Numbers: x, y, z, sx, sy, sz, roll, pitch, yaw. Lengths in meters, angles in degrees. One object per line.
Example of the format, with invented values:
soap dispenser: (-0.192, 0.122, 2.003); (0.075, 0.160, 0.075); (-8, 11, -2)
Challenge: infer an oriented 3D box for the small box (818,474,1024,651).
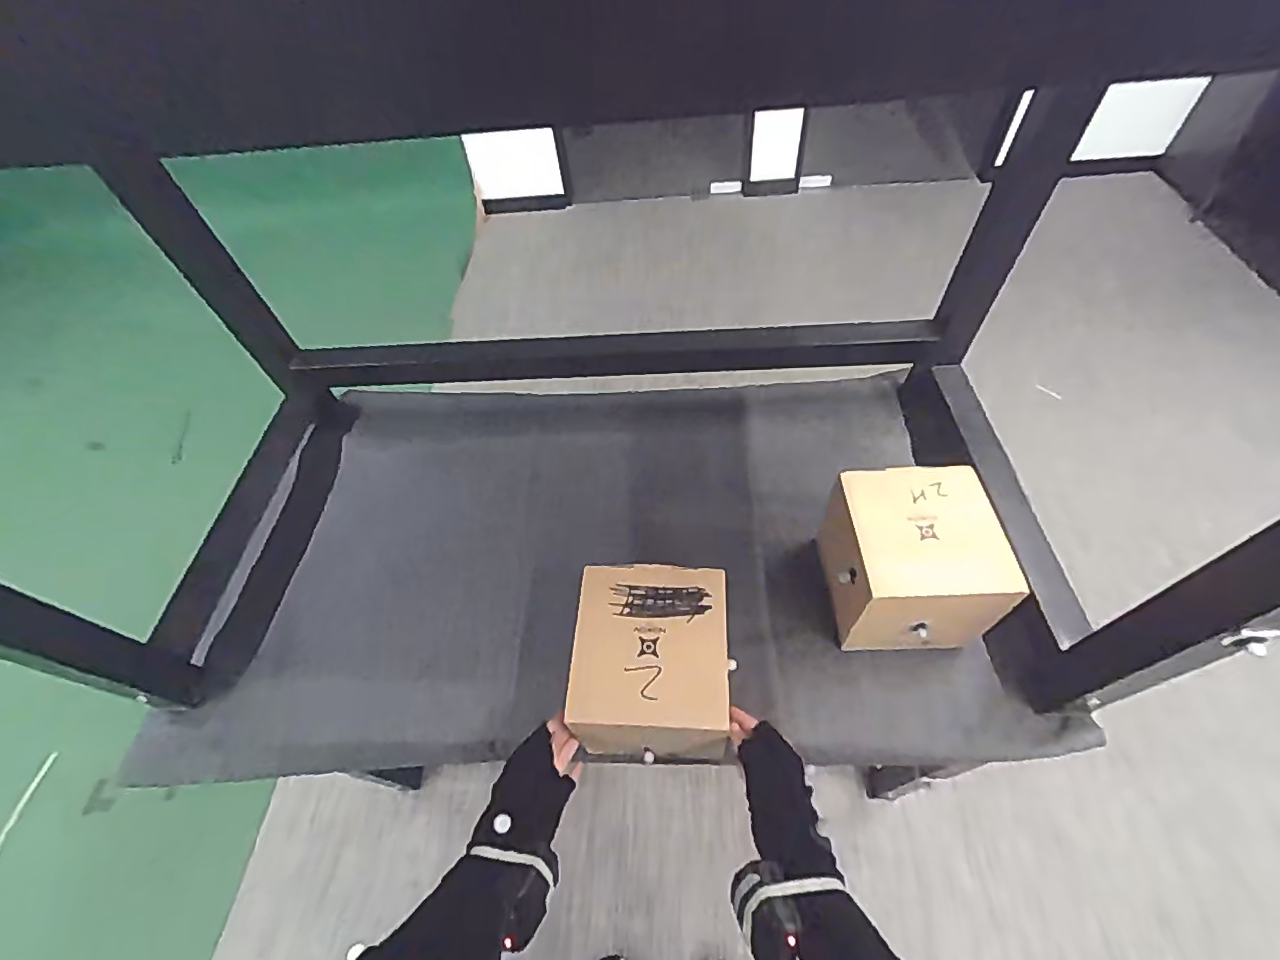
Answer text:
small box: (0.340, 0.113, 0.697); (0.168, 0.176, 0.179); (-2, 52, 3)
